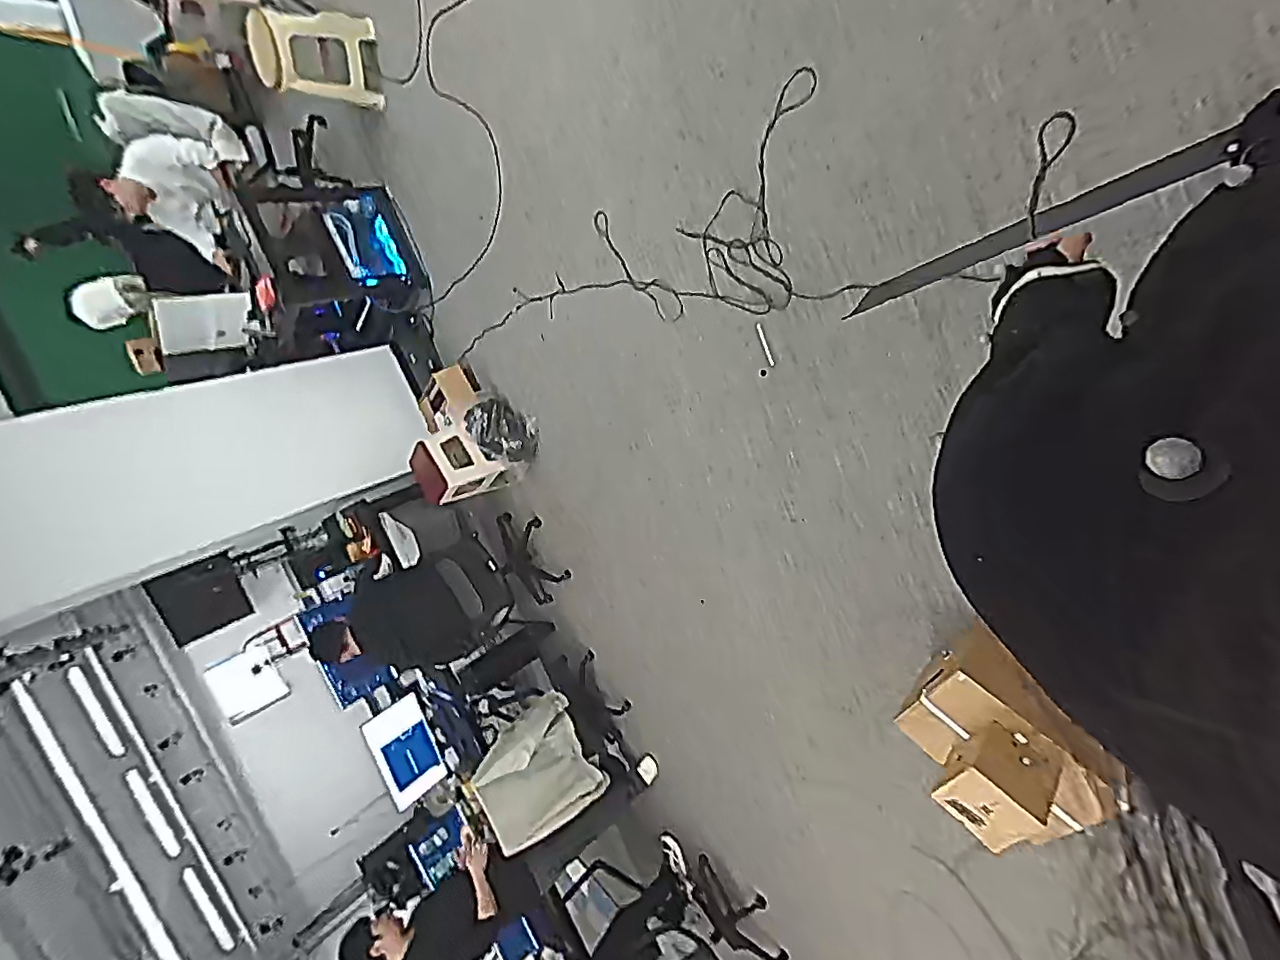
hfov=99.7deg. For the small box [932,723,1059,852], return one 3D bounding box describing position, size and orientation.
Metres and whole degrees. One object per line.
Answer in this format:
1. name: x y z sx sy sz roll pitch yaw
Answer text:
1. small box: 0.832 0.712 1.262 0.168 0.176 0.179 40 135 26
